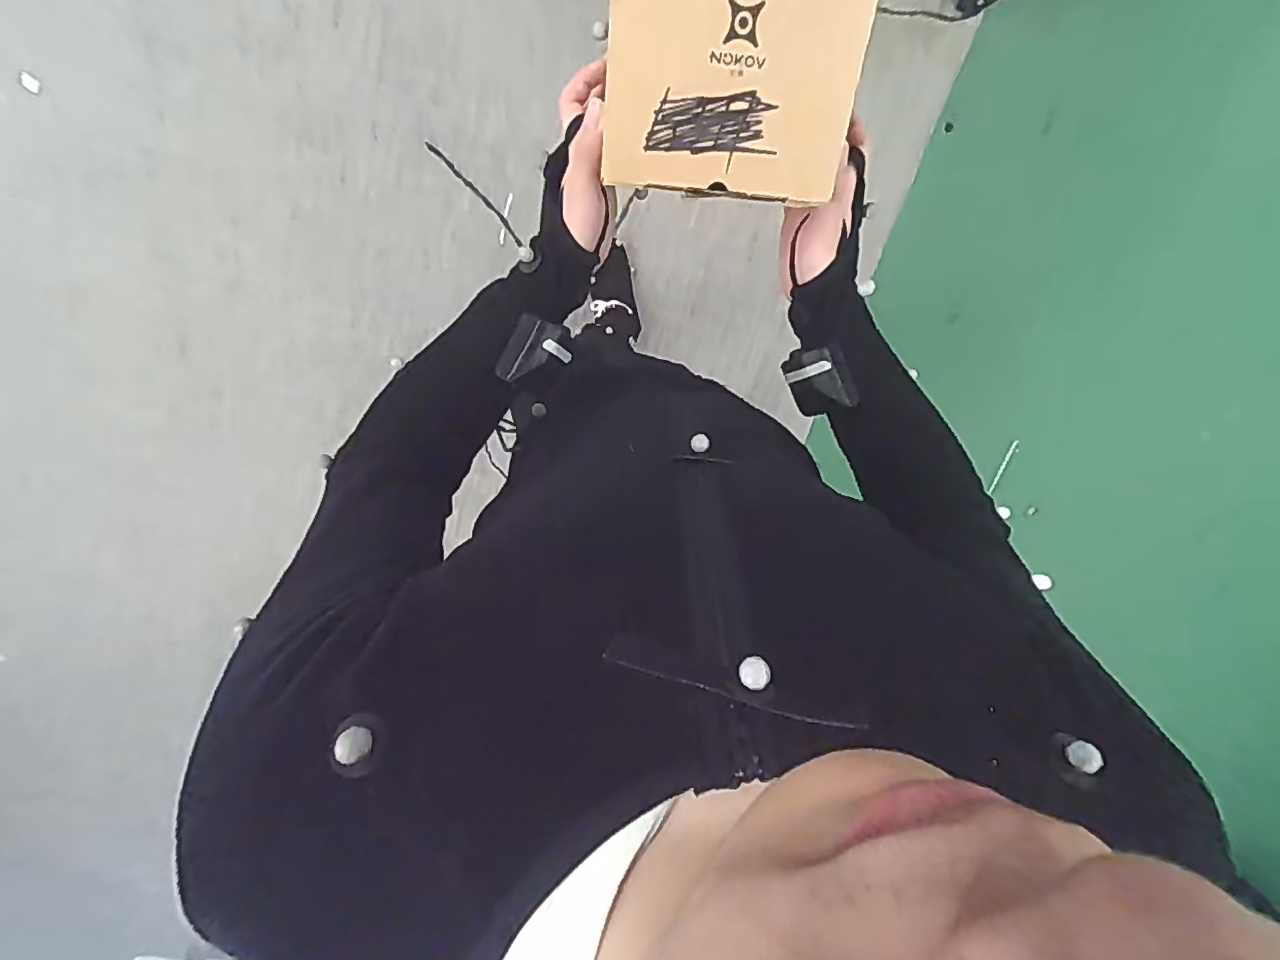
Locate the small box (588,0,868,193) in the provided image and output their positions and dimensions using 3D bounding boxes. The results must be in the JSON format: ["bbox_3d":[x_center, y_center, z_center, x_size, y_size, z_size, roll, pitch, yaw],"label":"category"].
[{"bbox_3d":[0.054,-0.320,0.396,0.168,0.176,0.179,4,120,-3],"label":"small box"}]
